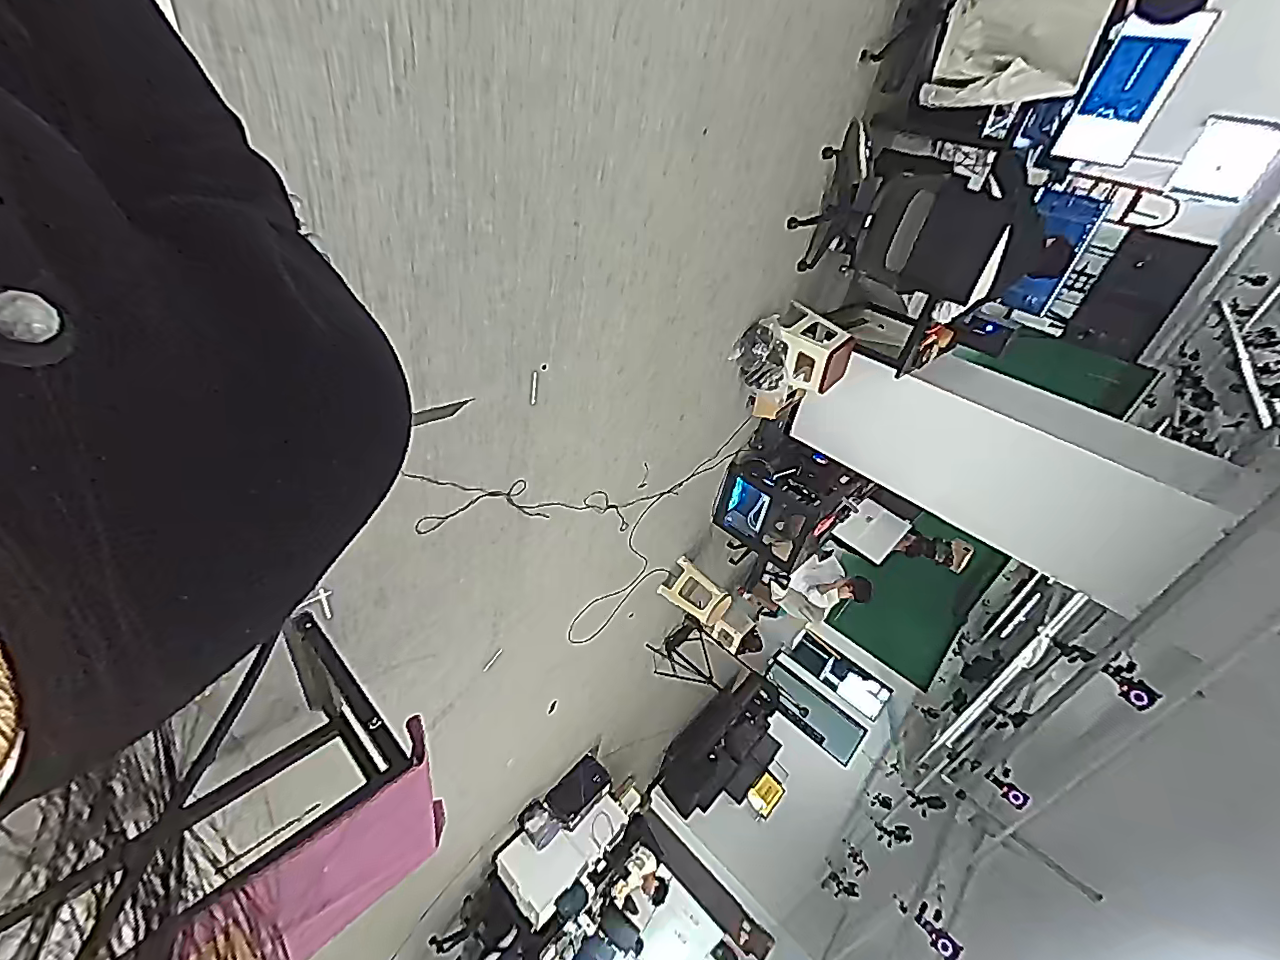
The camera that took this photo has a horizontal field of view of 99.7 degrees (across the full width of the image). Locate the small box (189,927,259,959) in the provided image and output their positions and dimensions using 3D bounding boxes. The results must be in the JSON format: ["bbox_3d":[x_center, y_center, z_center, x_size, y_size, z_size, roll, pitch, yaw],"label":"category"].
[{"bbox_3d":[-0.941,1.157,1.204,0.168,0.176,0.179,-26,140,-44],"label":"small box"}]
